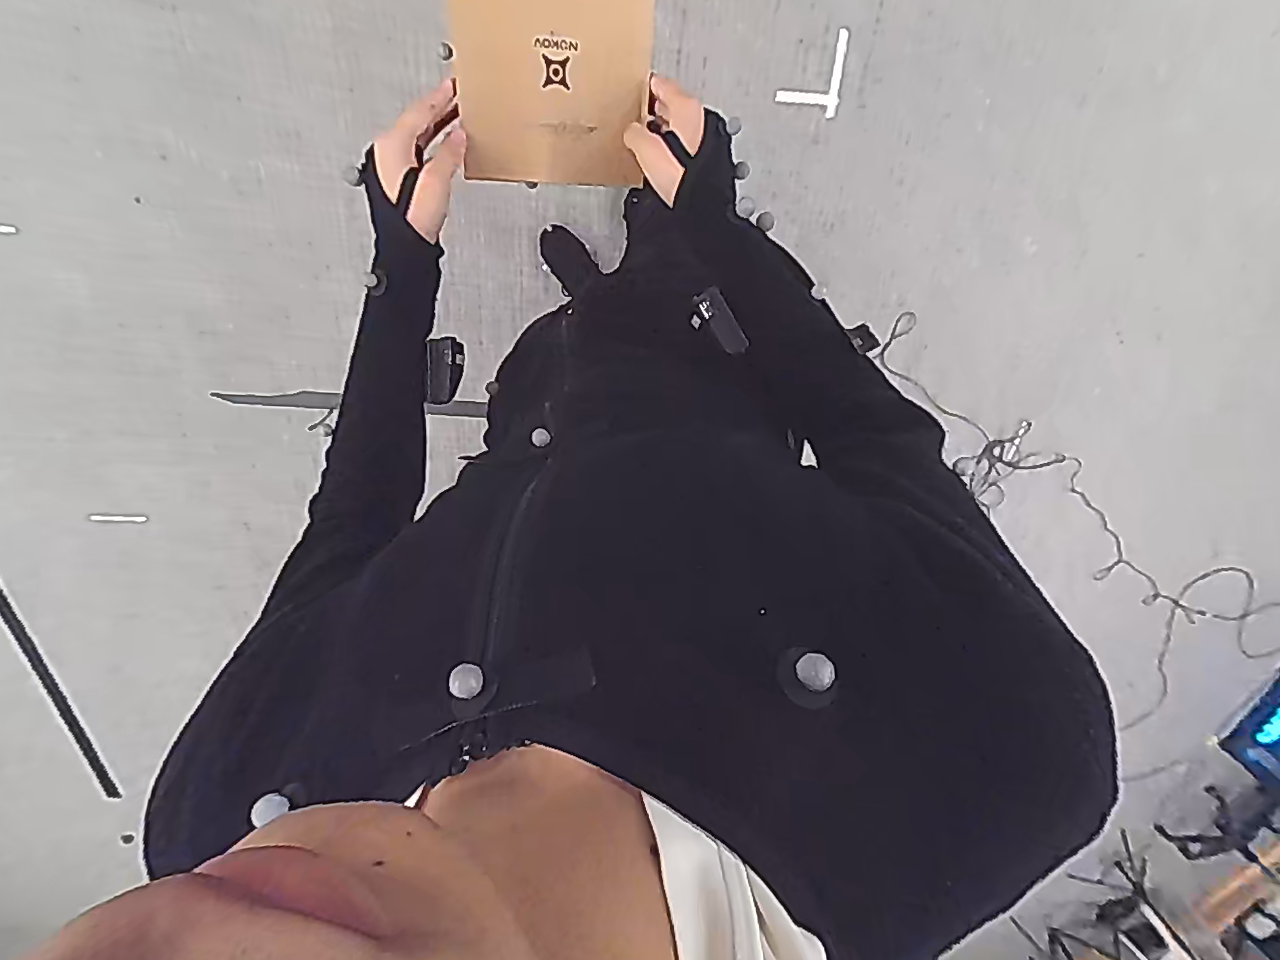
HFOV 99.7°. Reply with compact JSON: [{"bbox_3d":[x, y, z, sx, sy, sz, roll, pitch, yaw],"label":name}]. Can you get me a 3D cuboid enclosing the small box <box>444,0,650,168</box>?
[{"bbox_3d":[-0.092,-0.401,0.504,0.168,0.176,0.179,-4,124,-13],"label":"small box"}]
